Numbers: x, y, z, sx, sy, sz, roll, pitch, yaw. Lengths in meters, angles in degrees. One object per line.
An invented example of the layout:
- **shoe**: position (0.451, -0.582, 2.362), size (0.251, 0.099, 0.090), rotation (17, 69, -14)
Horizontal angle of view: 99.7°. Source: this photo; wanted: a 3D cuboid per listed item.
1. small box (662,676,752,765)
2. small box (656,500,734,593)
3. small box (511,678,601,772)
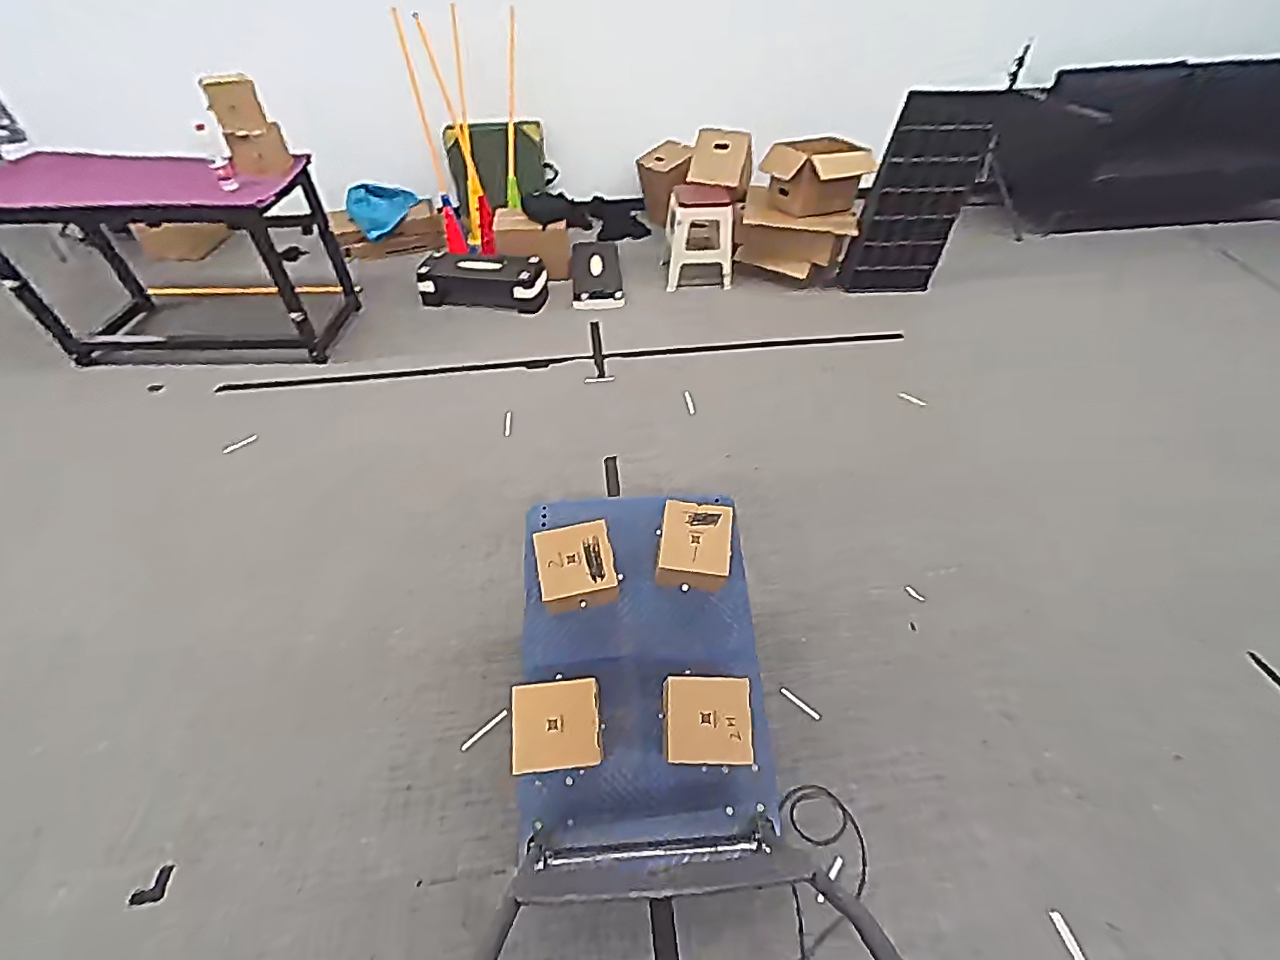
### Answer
- **small box**: position (0.140, 0.529, 1.187), size (0.179, 0.176, 0.168), rotation (3, 65, -1)
- **small box**: position (0.133, 0.170, 1.357), size (0.168, 0.176, 0.179), rotation (8, 66, 1)
- **small box**: position (-0.177, 0.532, 1.173), size (0.179, 0.176, 0.168), rotation (-4, 65, -6)
